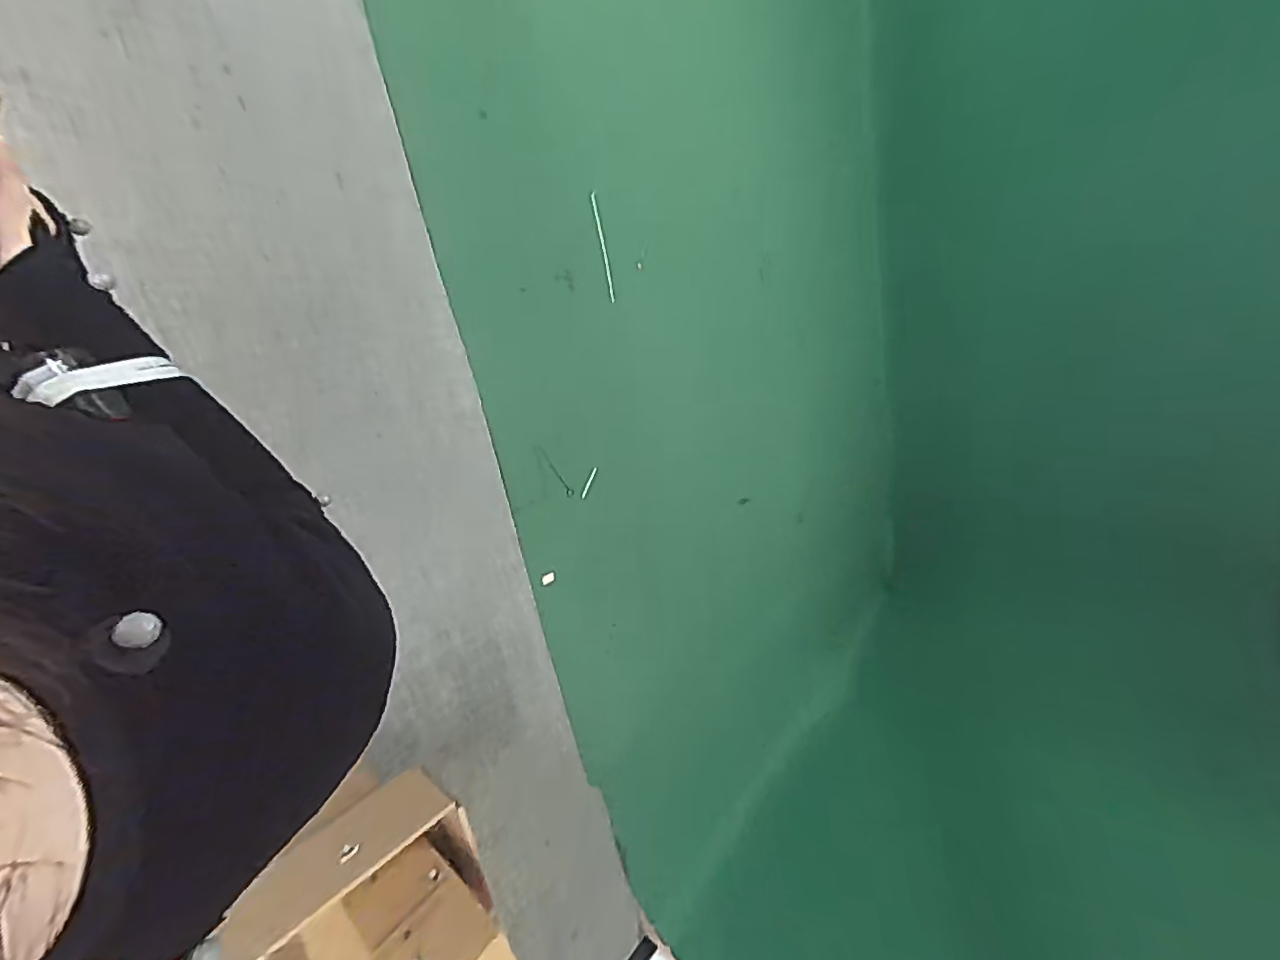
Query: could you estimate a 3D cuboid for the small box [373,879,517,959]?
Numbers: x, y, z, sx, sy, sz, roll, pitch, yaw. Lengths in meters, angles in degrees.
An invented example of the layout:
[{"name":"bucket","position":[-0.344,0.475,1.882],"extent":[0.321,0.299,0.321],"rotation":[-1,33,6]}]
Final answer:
[{"name":"small box","position":[-0.322,0.832,0.919],"extent":[0.168,0.176,0.179],"rotation":[-30,116,-39]}]
